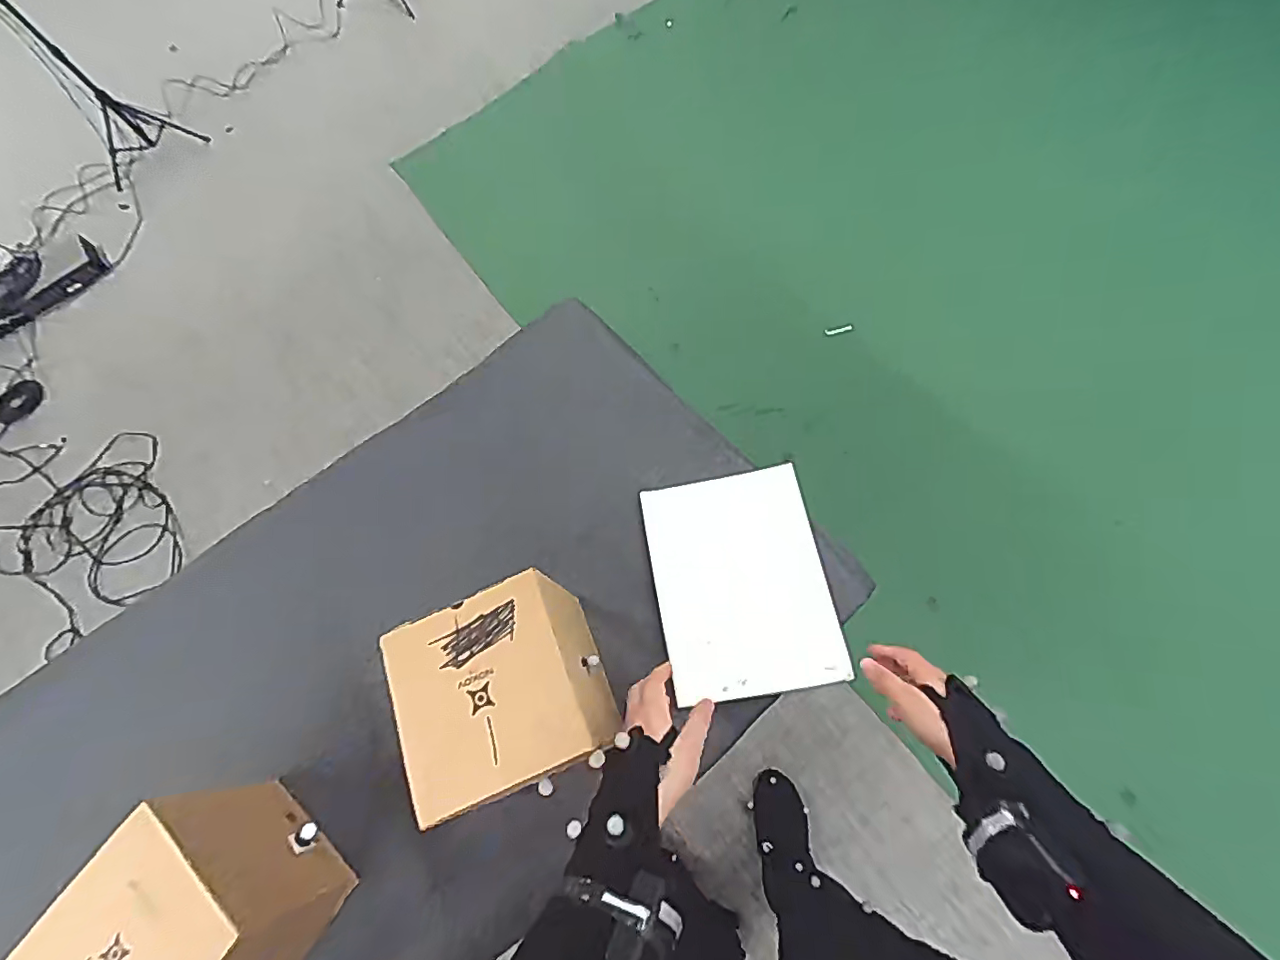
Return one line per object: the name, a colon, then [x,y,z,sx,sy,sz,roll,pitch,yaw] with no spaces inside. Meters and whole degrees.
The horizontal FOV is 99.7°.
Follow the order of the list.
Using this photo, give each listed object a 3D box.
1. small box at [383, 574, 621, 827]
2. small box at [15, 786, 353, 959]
small box: [-0.135,0.226,0.571,0.168,0.176,0.179,-25,67,0]
small box: [-0.435,0.442,0.536,0.168,0.176,0.179,32,76,19]
